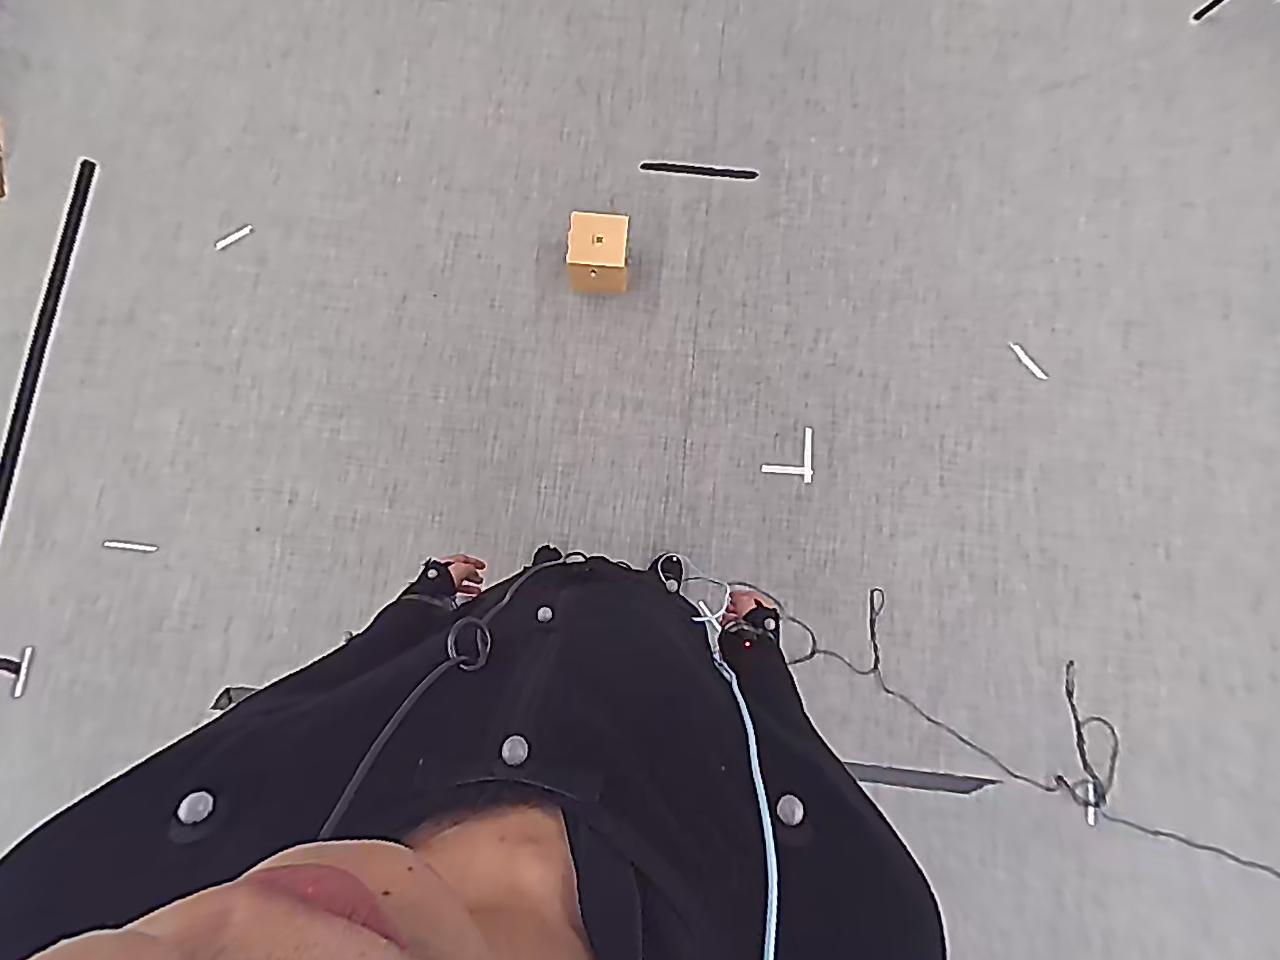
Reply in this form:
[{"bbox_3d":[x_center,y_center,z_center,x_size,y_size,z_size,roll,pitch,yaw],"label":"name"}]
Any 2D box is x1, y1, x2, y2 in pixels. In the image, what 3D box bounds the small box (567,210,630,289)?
[{"bbox_3d":[-0.124,-0.712,1.688,0.179,0.176,0.168,4,83,1],"label":"small box"}]
